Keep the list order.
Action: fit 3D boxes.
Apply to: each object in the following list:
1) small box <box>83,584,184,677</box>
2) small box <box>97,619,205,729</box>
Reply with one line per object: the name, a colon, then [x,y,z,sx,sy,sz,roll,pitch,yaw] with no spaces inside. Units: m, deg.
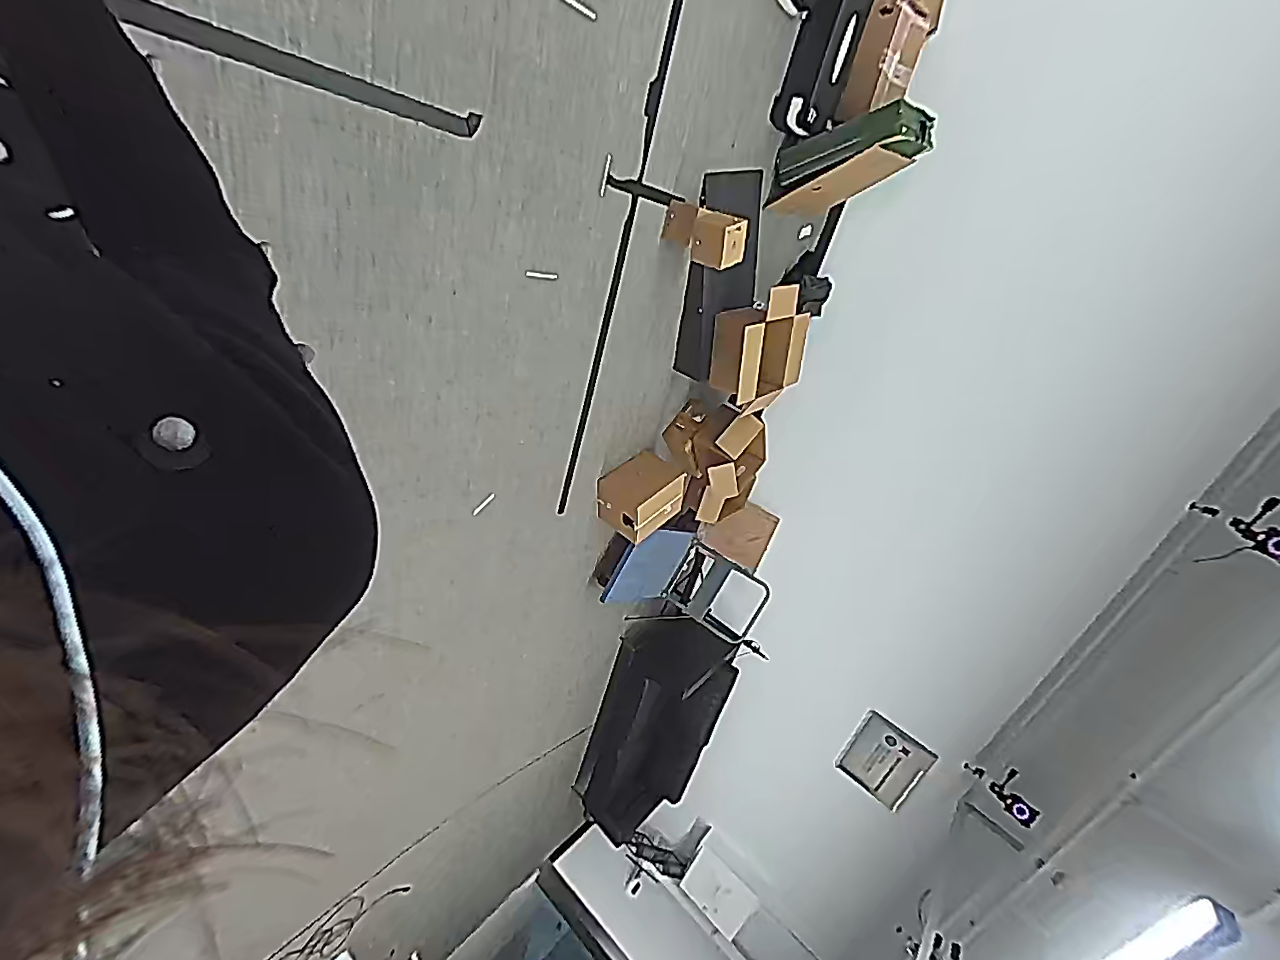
small box: [-1.398,0.420,1.498,0.179,0.176,0.168,-21,135,-49]
small box: [-1.279,0.501,1.417,0.168,0.176,0.179,-21,134,-49]
